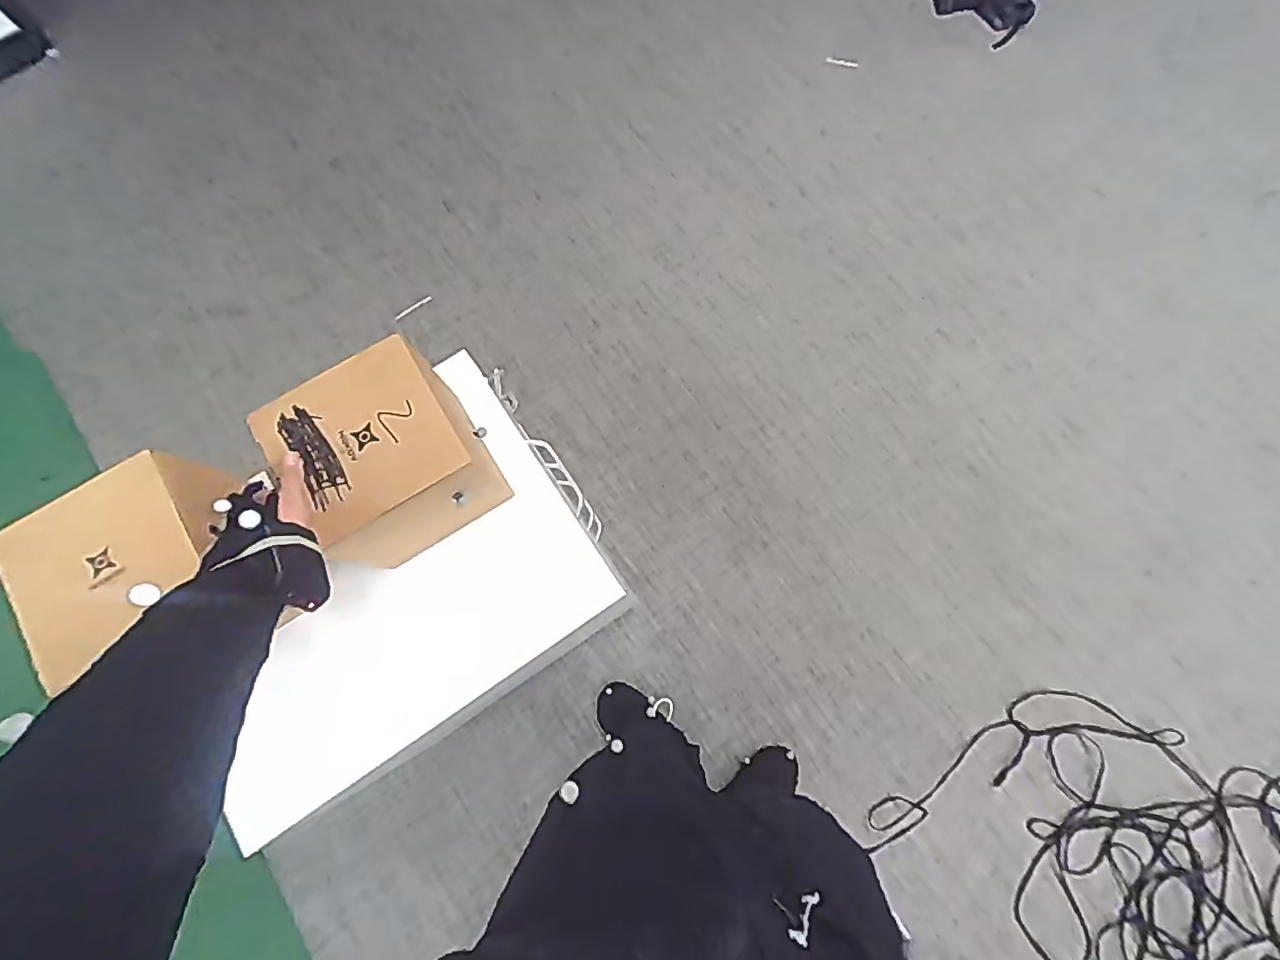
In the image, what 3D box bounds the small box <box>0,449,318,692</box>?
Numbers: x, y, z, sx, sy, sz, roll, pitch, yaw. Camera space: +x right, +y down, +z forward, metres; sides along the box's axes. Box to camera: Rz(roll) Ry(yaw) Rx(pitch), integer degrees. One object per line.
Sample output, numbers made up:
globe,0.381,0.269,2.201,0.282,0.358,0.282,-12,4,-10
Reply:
small box,-0.499,0.099,0.585,0.168,0.176,0.179,-33,79,-8
